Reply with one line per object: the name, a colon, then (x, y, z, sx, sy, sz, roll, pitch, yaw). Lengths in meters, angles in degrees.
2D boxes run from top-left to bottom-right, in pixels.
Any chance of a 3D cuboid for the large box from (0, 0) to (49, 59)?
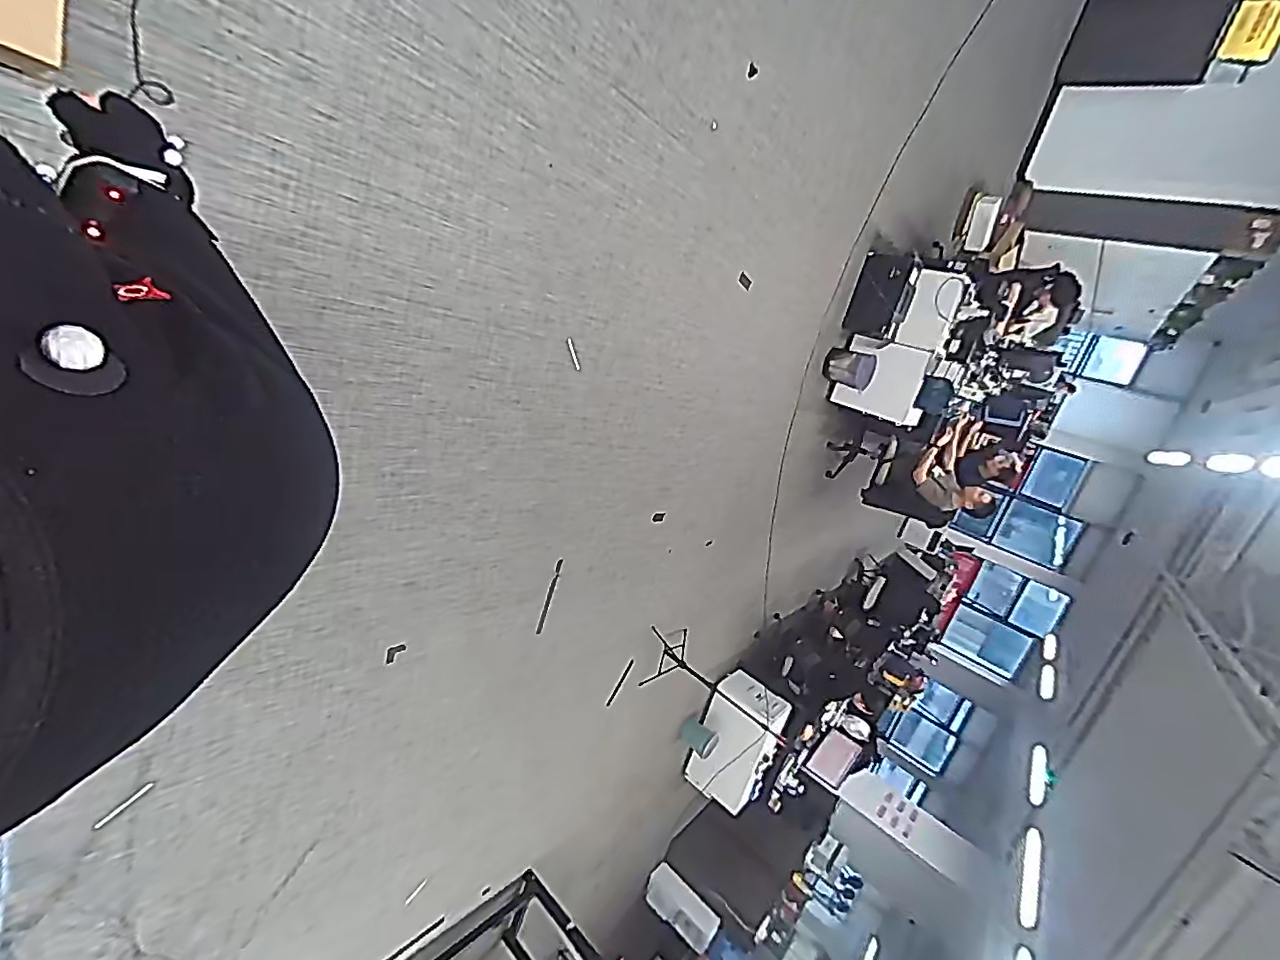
large box: (-0.978, -0.762, 0.613, 0.408, 0.320, 0.320, 0, 112, -53)
